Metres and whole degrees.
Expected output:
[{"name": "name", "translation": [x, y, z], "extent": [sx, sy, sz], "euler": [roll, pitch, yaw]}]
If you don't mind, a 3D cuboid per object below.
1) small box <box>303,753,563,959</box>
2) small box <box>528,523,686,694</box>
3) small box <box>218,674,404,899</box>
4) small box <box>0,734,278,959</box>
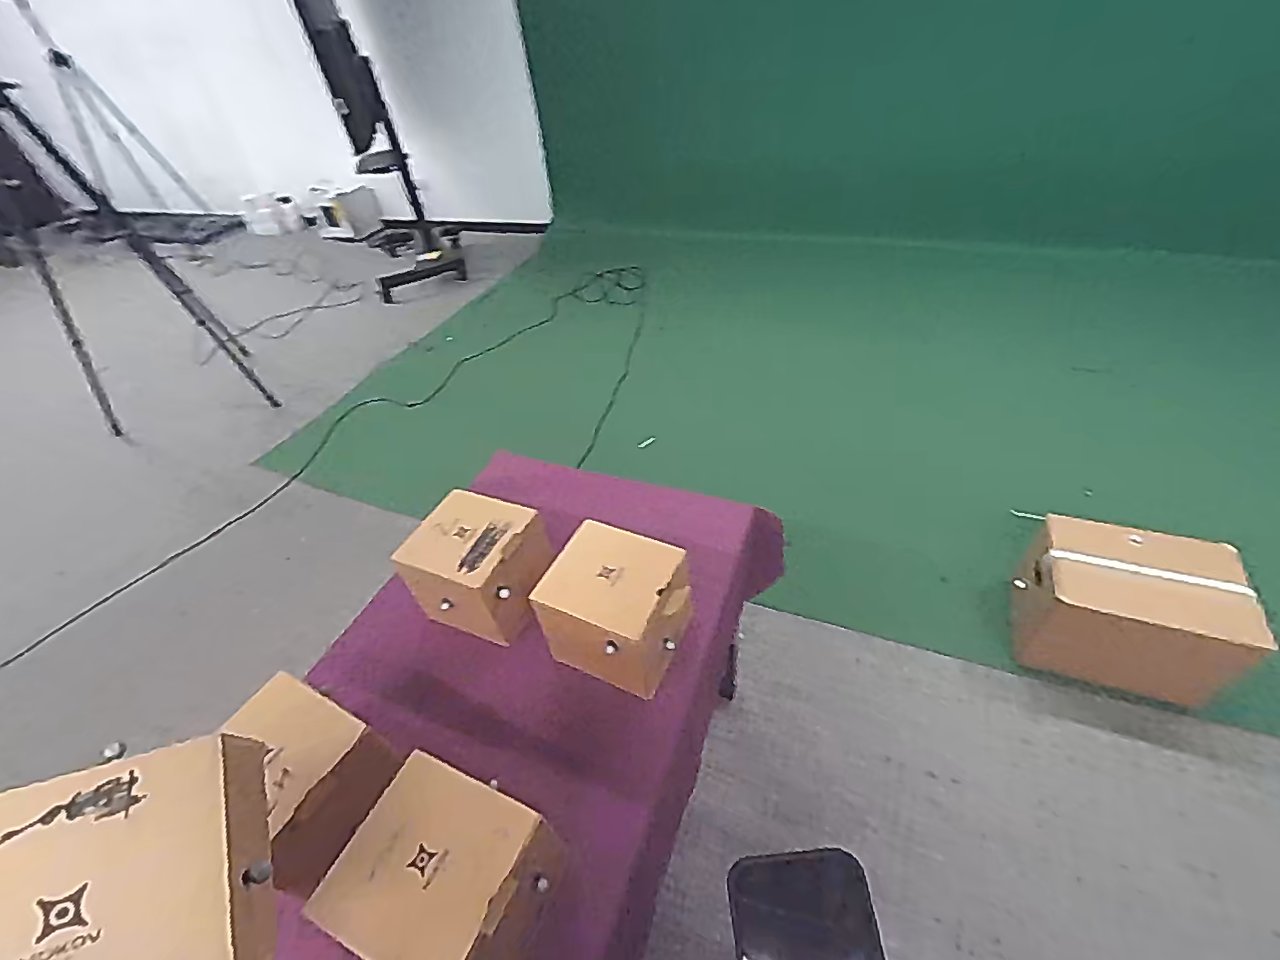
[{"name": "small box", "translation": [-0.206, 0.441, 0.591], "extent": [0.179, 0.176, 0.168], "euler": [13, 45, 22]}, {"name": "small box", "translation": [-0.040, 0.197, 0.830], "extent": [0.179, 0.176, 0.168], "euler": [15, 47, 23]}, {"name": "small box", "translation": [-0.429, 0.385, 0.682], "extent": [0.179, 0.176, 0.168], "euler": [17, 48, 24]}, {"name": "small box", "translation": [-0.375, 0.298, 0.390], "extent": [0.168, 0.176, 0.179], "euler": [-7, 69, -28]}]
